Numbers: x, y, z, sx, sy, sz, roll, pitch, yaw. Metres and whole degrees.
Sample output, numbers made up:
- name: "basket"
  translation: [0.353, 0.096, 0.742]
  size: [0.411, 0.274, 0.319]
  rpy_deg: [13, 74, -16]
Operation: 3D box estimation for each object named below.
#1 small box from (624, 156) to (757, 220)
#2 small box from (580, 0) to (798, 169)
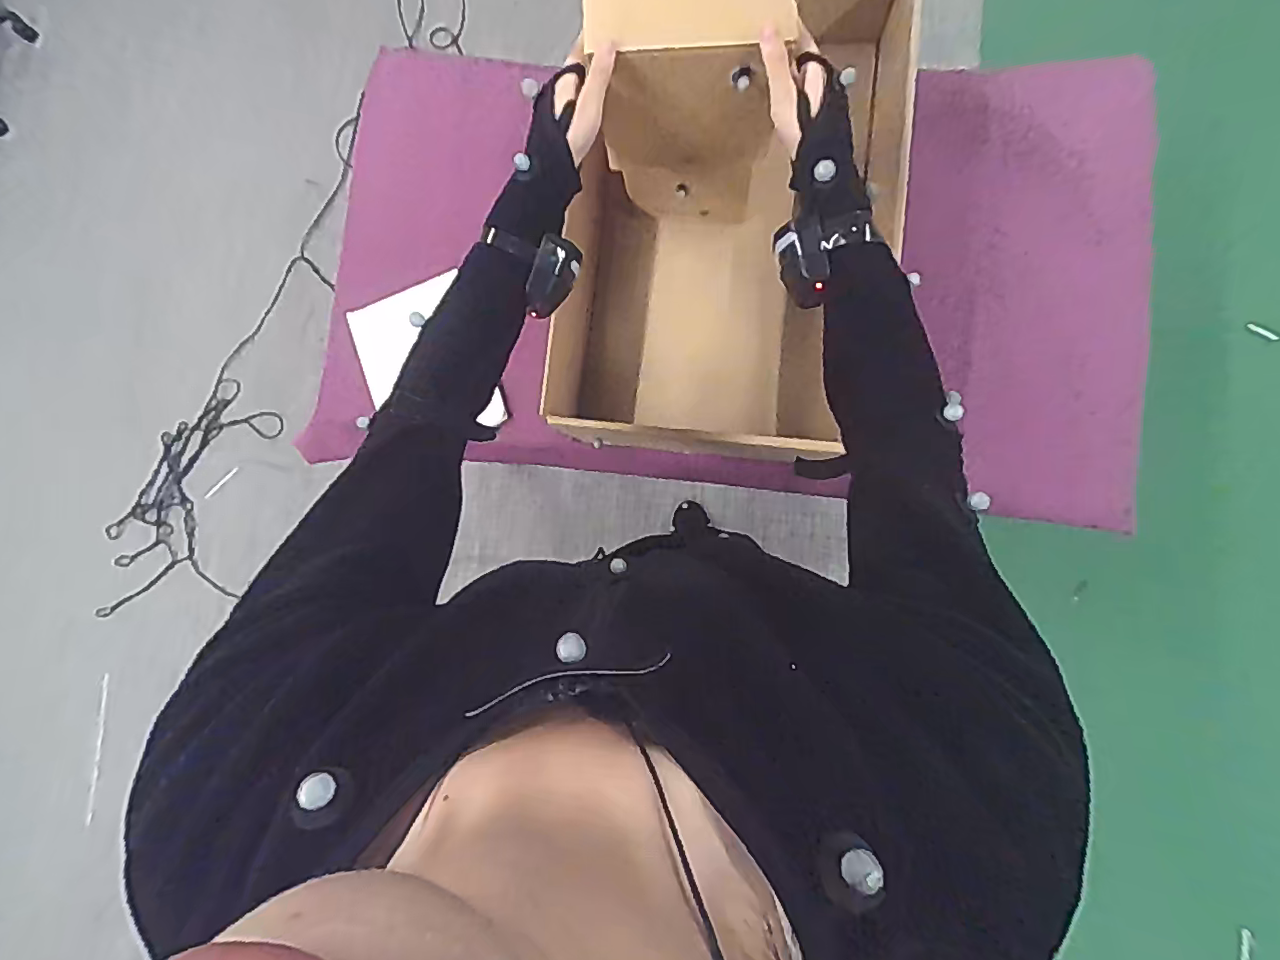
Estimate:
- name: "small box"
  translation: [0.073, -0.464, 0.706]
  size: [0.168, 0.176, 0.179]
  rpy_deg: [6, 88, 8]
- name: "small box"
  translation: [0.043, -0.422, 0.513]
  size: [0.179, 0.176, 0.168]
  rpy_deg: [-1, 90, 3]
